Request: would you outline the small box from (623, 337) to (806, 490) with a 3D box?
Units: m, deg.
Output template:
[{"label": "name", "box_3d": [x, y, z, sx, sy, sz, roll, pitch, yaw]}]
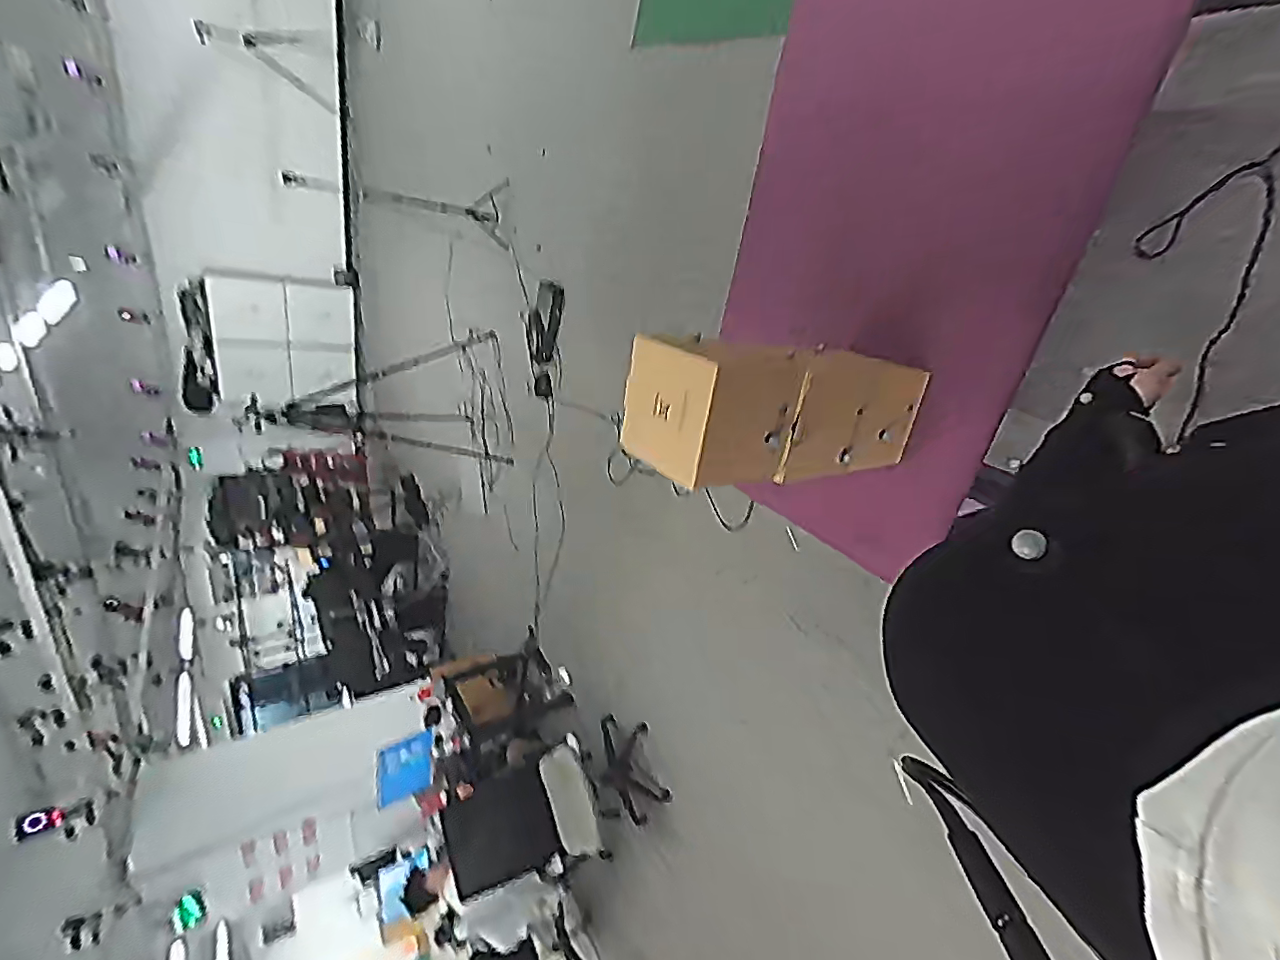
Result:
[{"label": "small box", "box_3d": [0.100, -0.099, 0.766, 0.179, 0.176, 0.168, 35, 124, 47]}]

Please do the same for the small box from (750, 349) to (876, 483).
[{"label": "small box", "box_3d": [0.237, -0.110, 0.854, 0.179, 0.176, 0.168, 35, 124, 48]}]

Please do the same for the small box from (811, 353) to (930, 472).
[{"label": "small box", "box_3d": [0.370, -0.128, 0.950, 0.179, 0.176, 0.168, 34, 123, 47]}]
